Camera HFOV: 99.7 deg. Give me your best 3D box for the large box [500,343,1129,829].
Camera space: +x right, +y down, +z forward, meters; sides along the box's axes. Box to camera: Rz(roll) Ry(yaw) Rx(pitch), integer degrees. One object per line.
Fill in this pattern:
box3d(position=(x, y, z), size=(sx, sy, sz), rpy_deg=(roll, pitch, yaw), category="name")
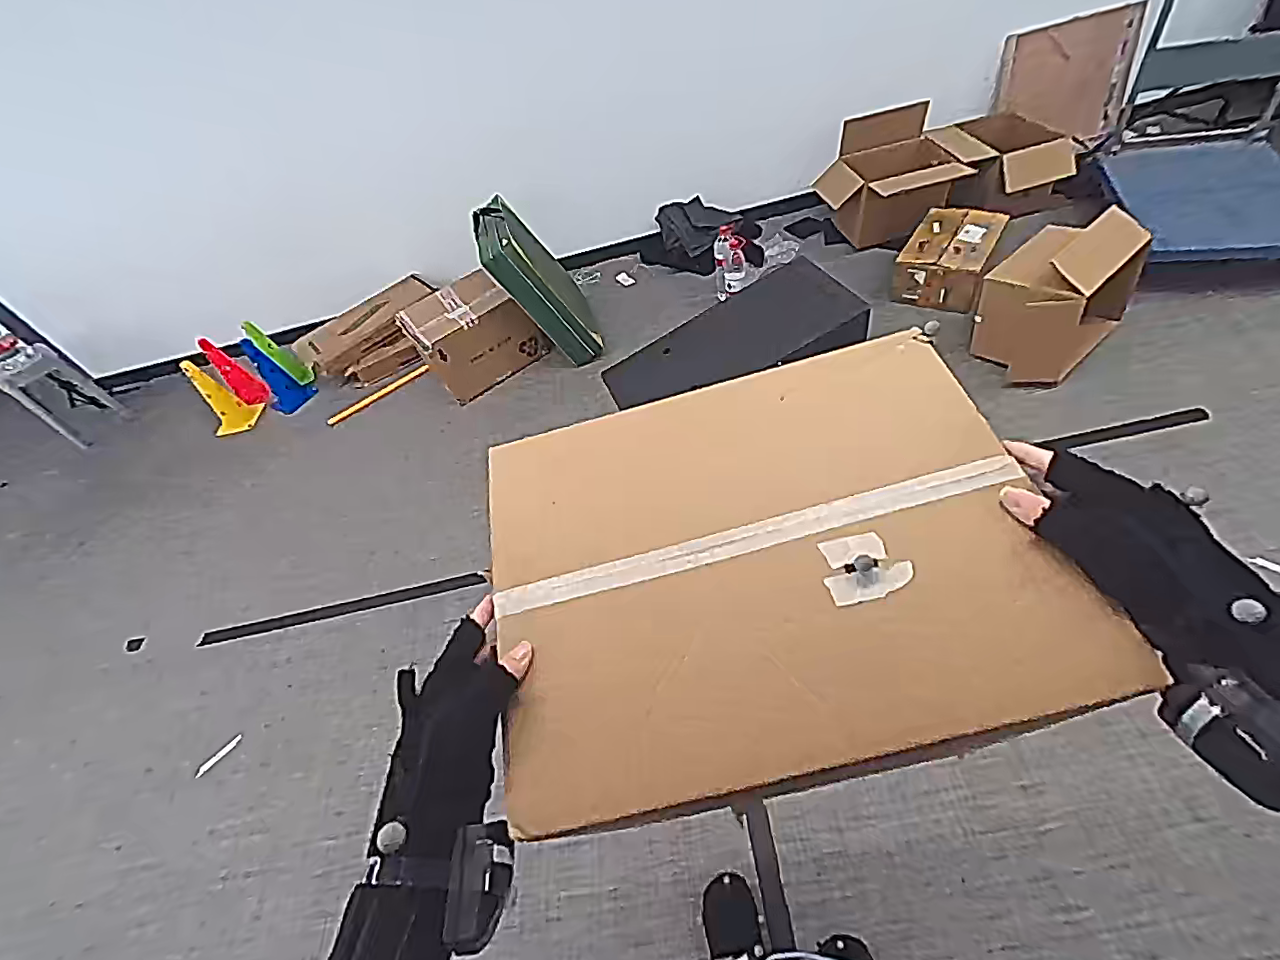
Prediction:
box3d(position=(0.113, 0.127, 0.548), size=(0.408, 0.320, 0.320), rpy_deg=(-15, 57, 2), category="large box")
